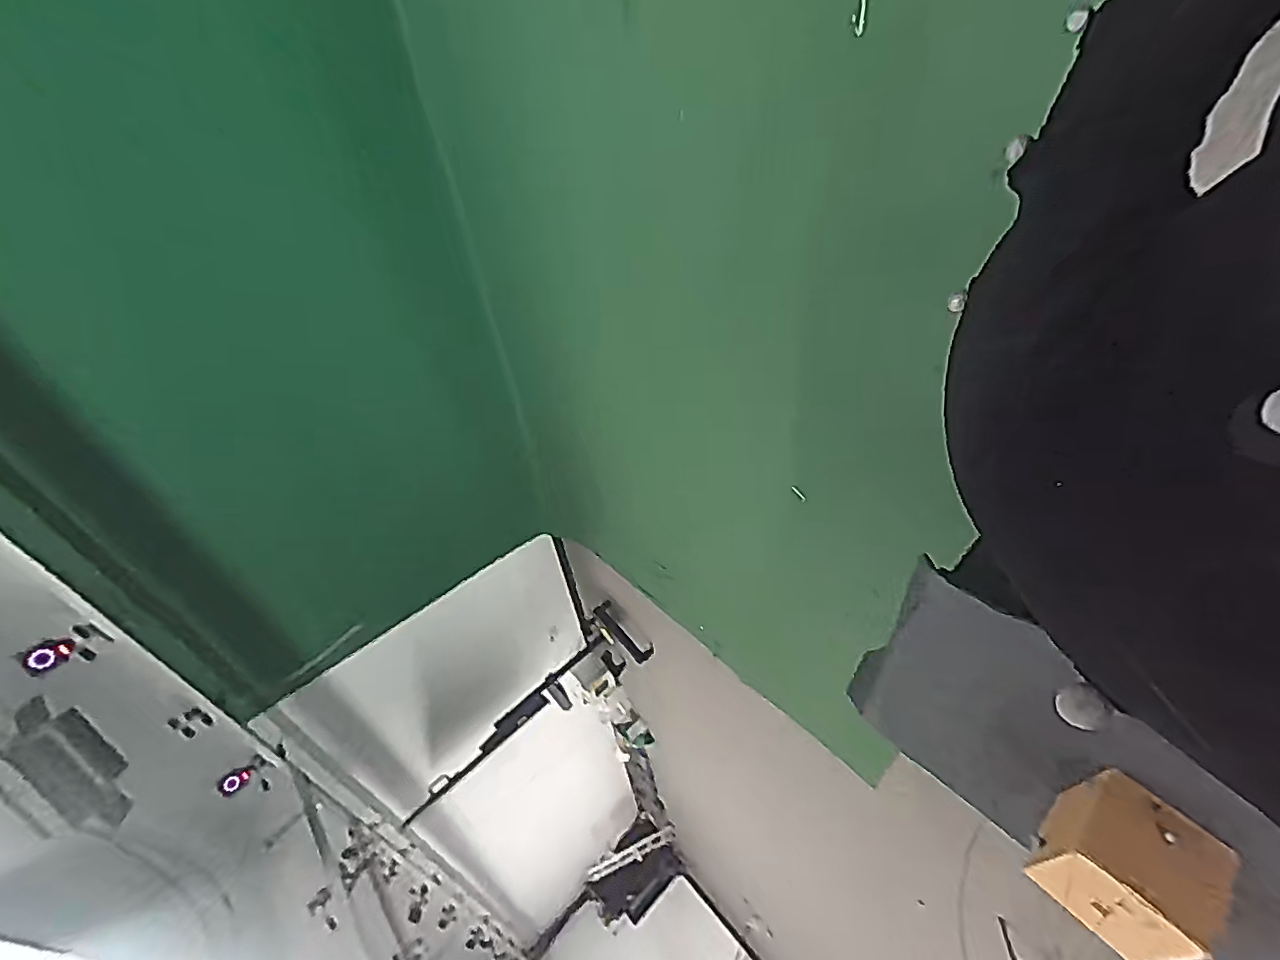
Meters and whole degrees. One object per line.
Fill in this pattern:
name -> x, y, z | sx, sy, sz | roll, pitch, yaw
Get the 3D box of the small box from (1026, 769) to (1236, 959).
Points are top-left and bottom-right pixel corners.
small box -> 0.764, 0.598, 0.848 | 0.168, 0.176, 0.179 | 37, 147, 32
